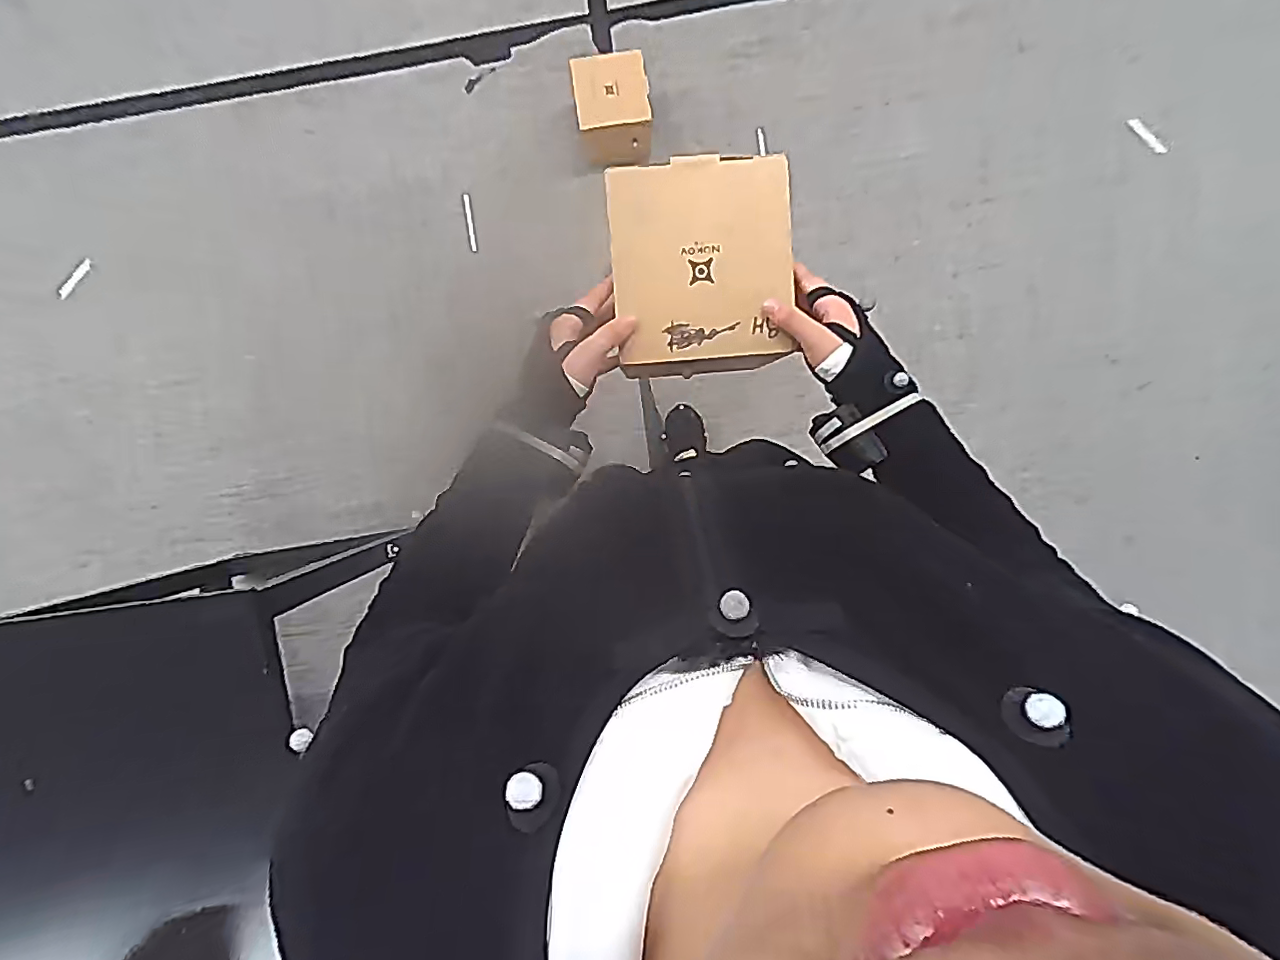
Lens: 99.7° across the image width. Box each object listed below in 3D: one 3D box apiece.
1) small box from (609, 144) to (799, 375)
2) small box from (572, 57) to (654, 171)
[{"bbox_3d":[0.058,-0.212,0.566,0.168,0.176,0.179,-5,95,2],"label":"small box"},{"bbox_3d":[-0.064,-0.911,1.362,0.179,0.176,0.168,-9,92,2],"label":"small box"}]
